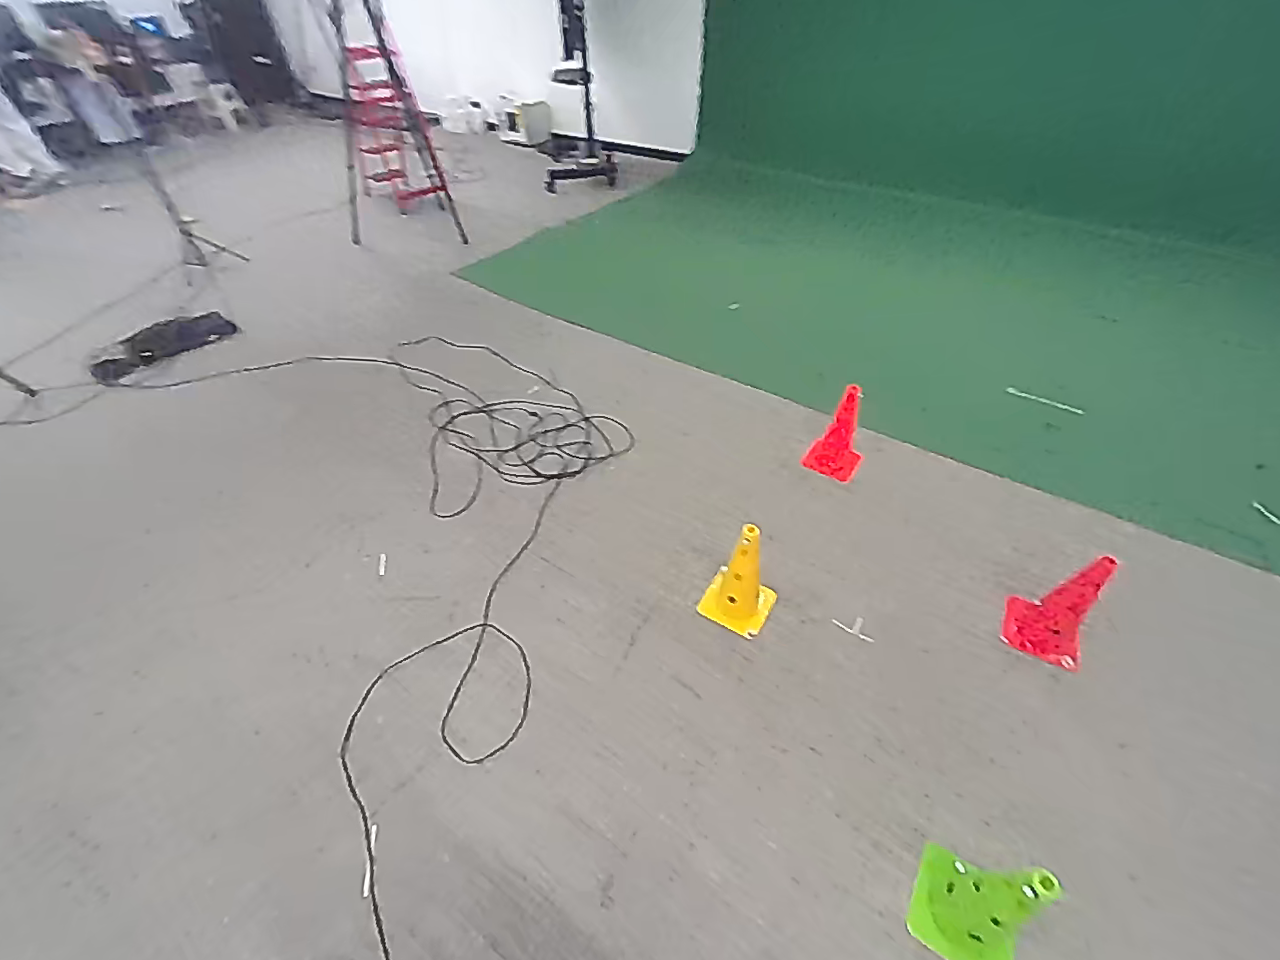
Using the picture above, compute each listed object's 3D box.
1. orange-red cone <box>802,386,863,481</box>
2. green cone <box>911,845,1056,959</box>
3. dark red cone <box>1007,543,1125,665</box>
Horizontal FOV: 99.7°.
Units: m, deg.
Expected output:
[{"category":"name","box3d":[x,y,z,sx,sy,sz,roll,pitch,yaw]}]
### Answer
[{"category":"orange-red cone","box3d":[0.780,-0.202,2.085,0.198,0.360,0.199,25,51,26]},{"category":"green cone","box3d":[0.700,0.809,1.043,0.202,0.368,0.200,24,49,25]},{"category":"dark red cone","box3d":[1.215,0.319,1.504,0.202,0.394,0.201,21,47,22]}]
